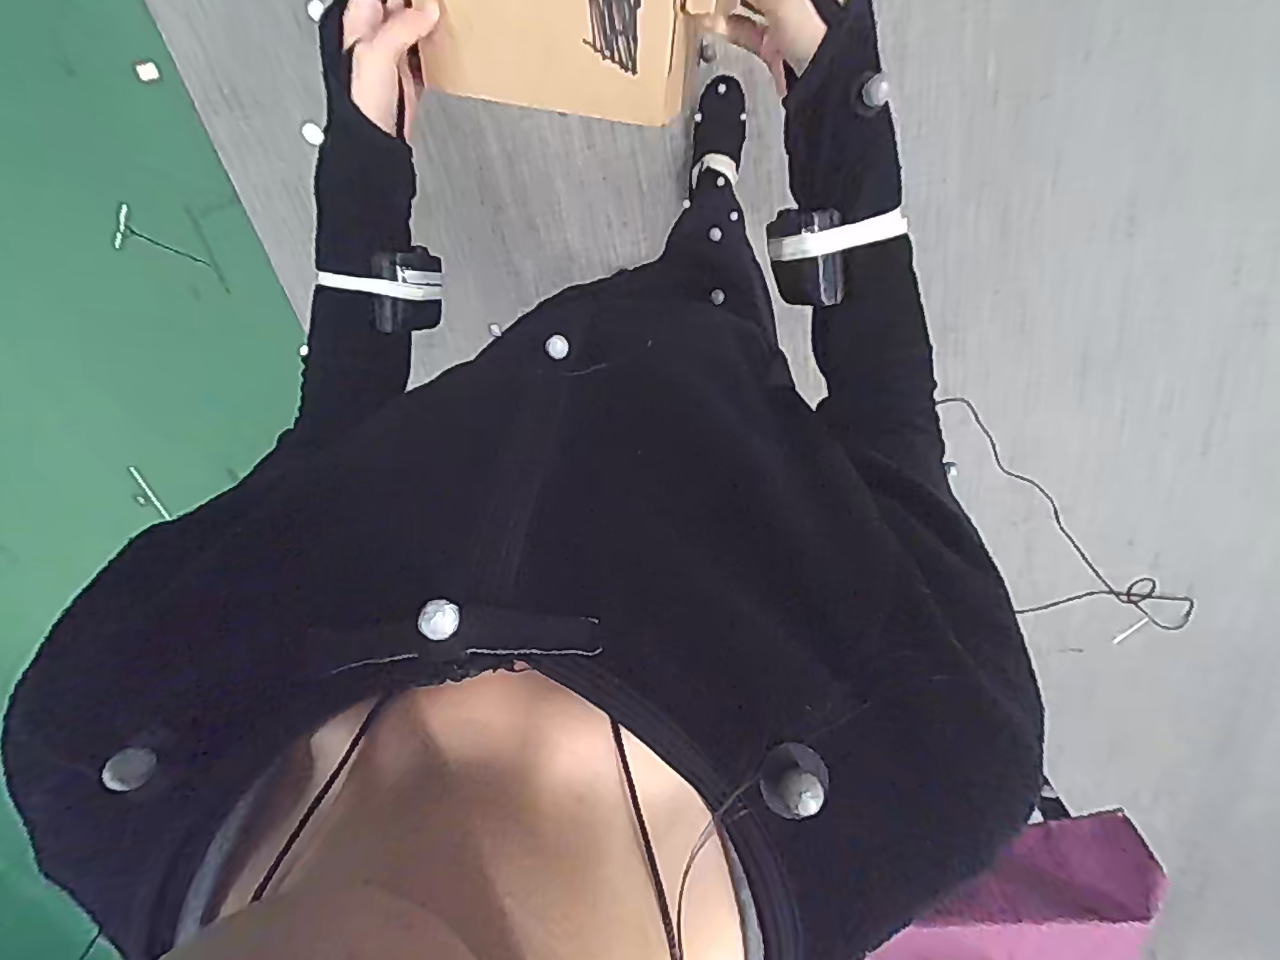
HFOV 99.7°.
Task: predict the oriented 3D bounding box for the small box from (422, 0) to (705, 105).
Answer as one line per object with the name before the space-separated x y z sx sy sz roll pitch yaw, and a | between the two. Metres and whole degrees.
small box | -0.040 -0.386 0.379 0.179 0.176 0.168 13 132 5
